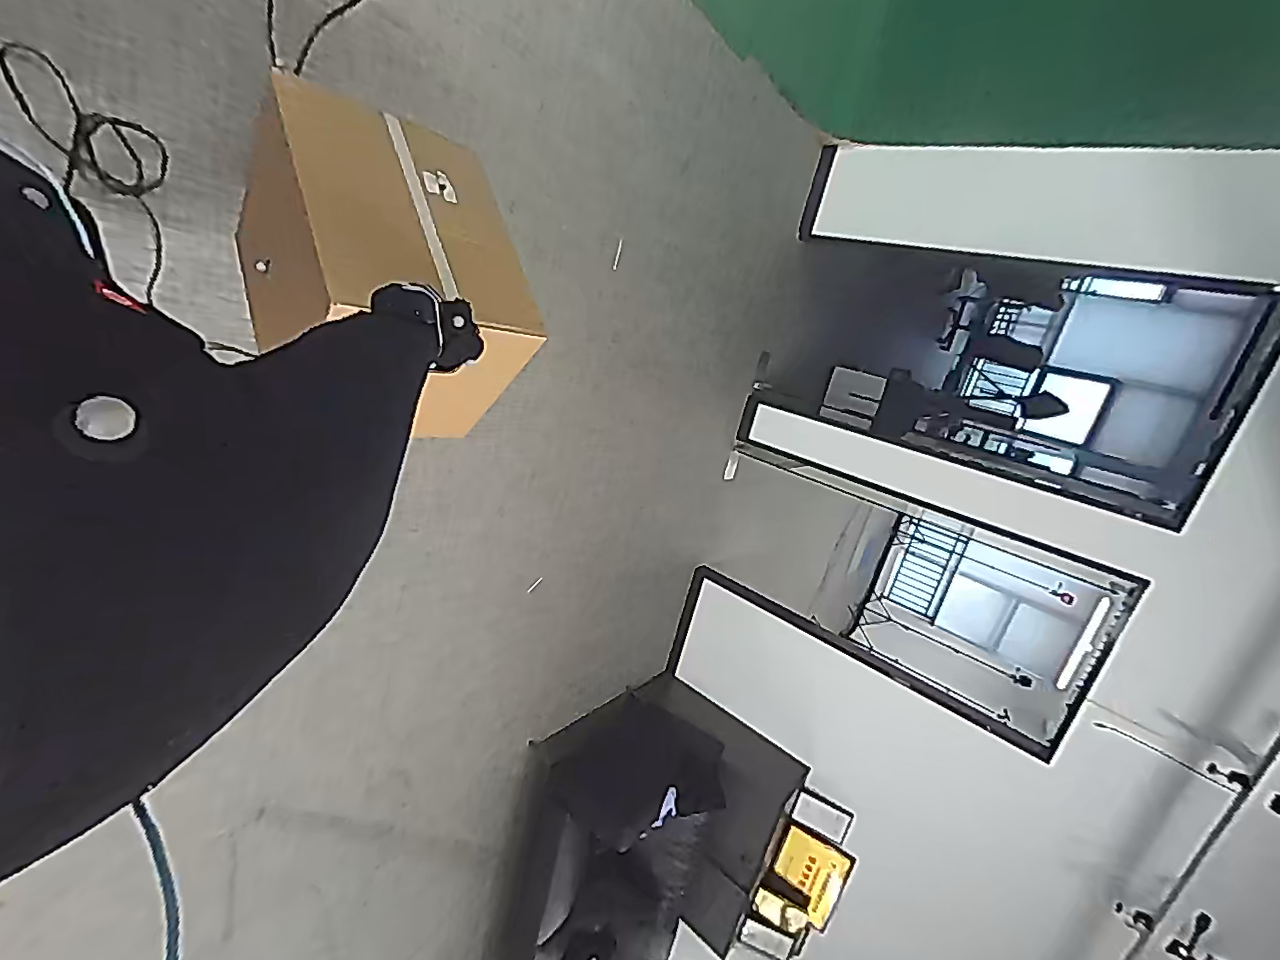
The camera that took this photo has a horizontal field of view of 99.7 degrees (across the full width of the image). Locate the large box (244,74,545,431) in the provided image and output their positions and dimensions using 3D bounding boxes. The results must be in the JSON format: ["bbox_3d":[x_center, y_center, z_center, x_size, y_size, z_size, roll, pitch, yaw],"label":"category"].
[{"bbox_3d":[-0.419,-0.328,0.895,0.320,0.408,0.320,-5,156,-47],"label":"large box"}]
